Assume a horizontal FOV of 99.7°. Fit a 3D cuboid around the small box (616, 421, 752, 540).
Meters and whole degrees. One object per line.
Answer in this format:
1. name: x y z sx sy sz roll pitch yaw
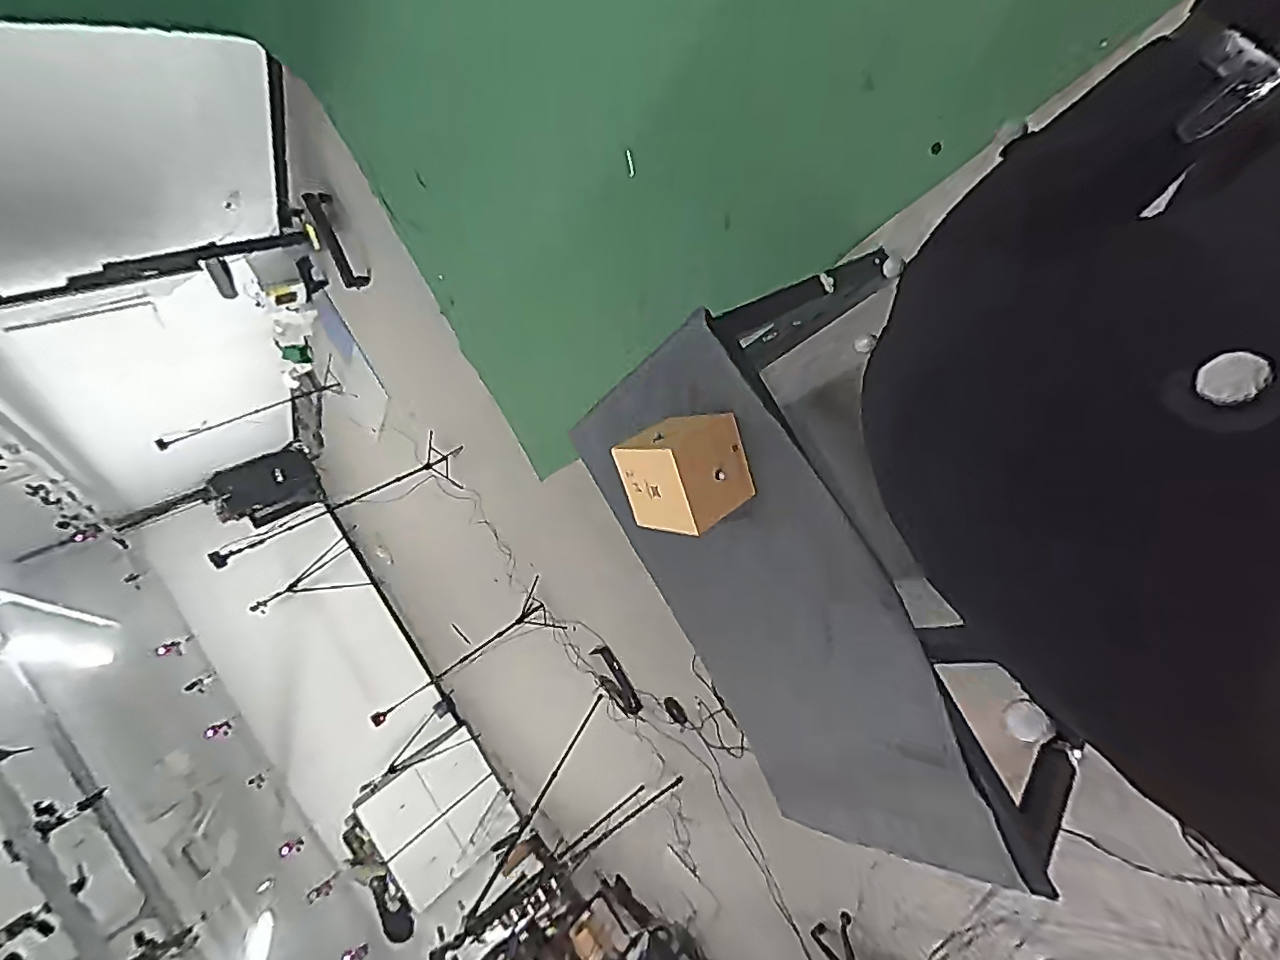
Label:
1. small box: 0.090 -0.006 1.018 0.179 0.176 0.168 4 118 52
